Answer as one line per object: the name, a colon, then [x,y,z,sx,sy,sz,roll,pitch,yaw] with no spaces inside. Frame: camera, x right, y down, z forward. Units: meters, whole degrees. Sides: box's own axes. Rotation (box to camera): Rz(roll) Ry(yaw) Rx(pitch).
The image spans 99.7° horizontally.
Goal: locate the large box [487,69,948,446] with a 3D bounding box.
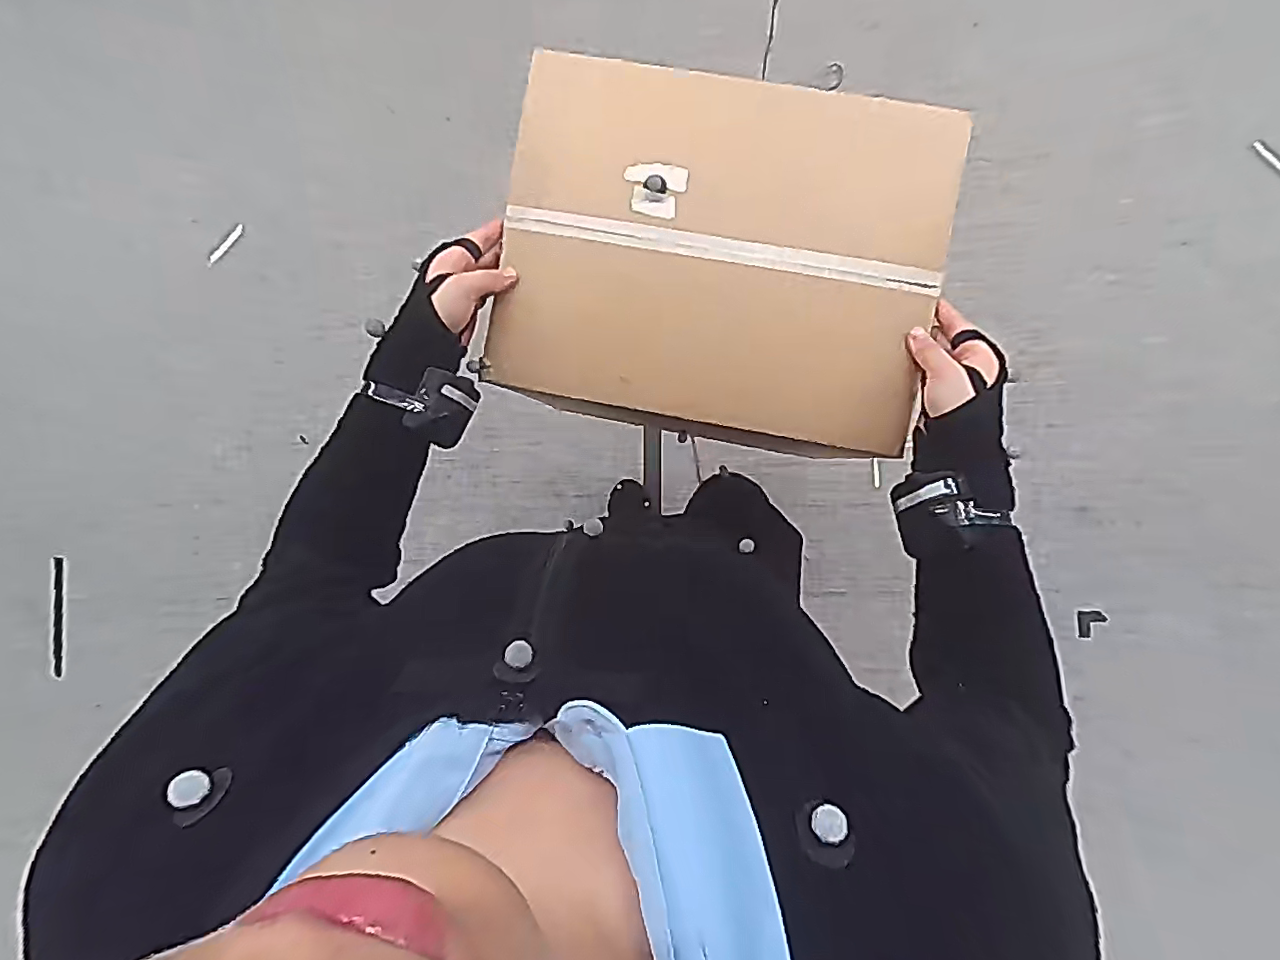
large box: [0.078,-0.222,0.662,0.408,0.320,0.320,10,92,4]
